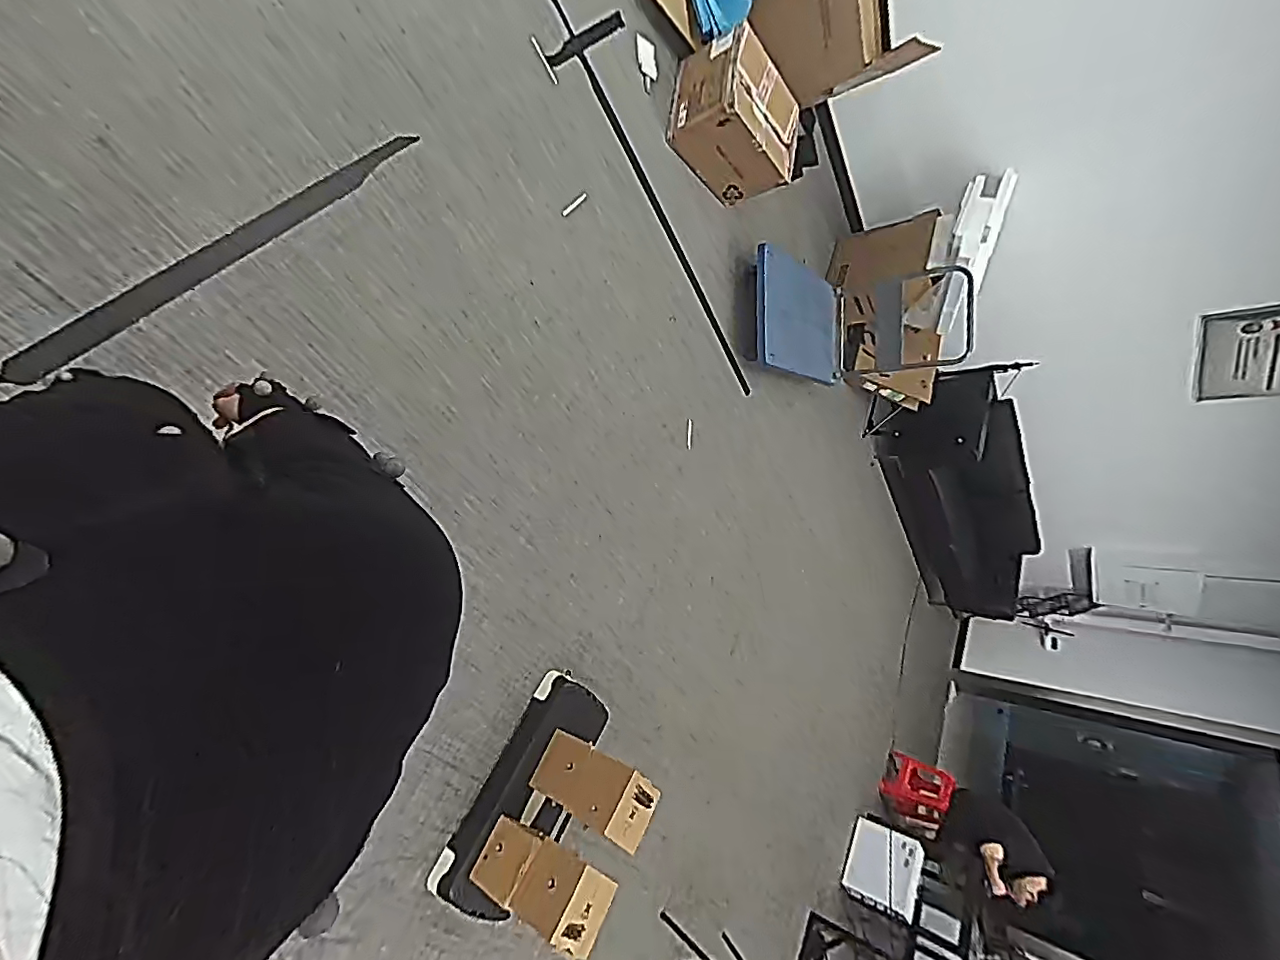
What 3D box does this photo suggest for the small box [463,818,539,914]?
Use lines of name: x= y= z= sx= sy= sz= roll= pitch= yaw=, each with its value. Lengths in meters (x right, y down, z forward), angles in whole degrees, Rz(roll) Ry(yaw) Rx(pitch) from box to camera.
small box: x=-0.353 y=1.080 z=1.509 sx=0.179 sy=0.176 sz=0.168 roll=52 pitch=53 yaw=-35

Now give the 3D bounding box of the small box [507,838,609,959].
small box: x=-0.220 y=1.085 z=1.412 sx=0.179 sy=0.176 sz=0.168 roll=-57 pitch=129 yaw=-33
